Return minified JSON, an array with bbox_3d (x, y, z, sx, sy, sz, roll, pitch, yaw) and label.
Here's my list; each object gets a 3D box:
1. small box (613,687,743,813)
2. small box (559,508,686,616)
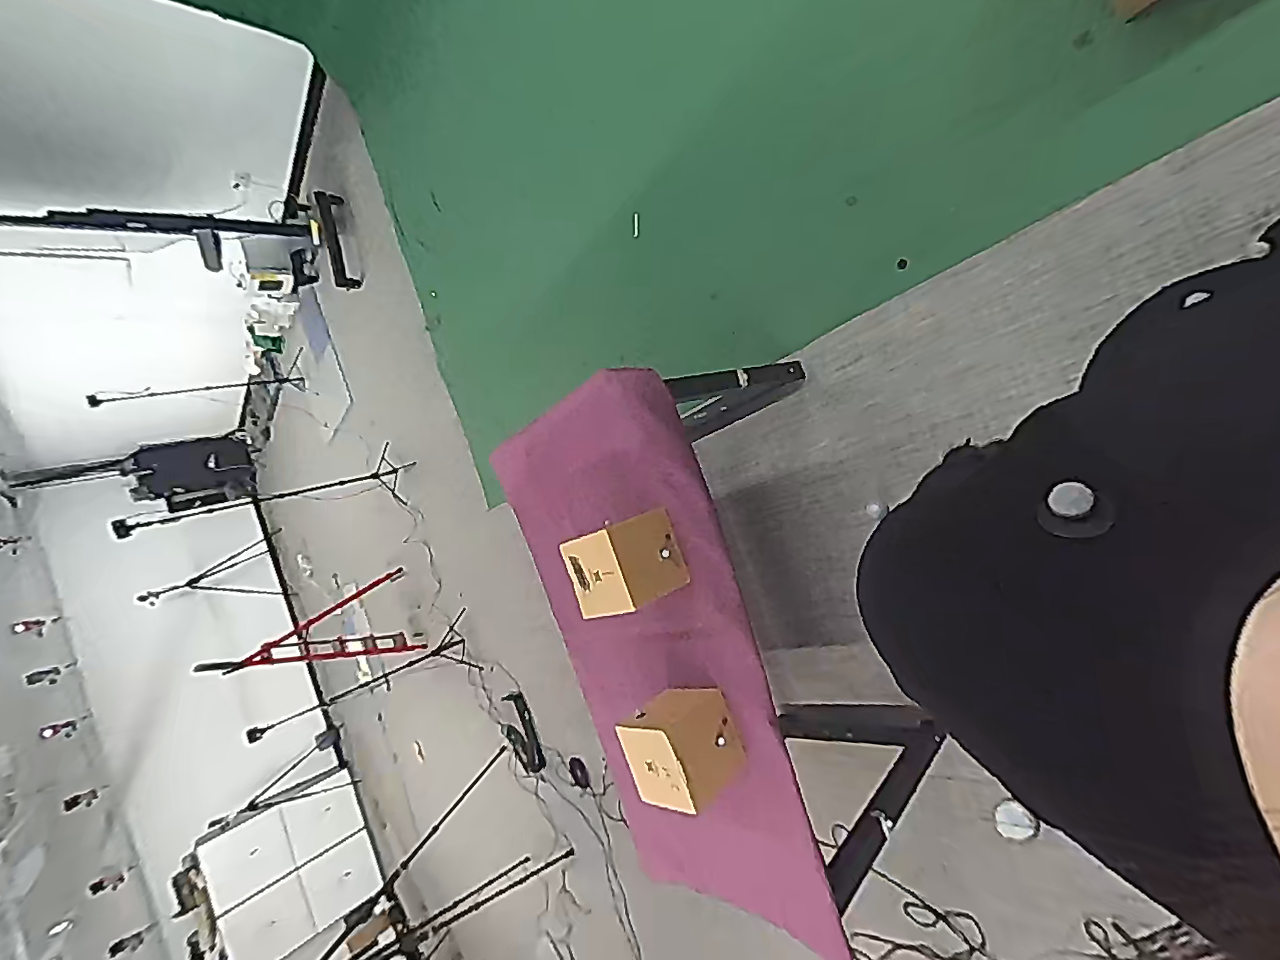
[{"bbox_3d":[0.079,0.547,1.122,0.179,0.176,0.168,-26,84,48],"label":"small box"},{"bbox_3d":[-0.035,0.169,1.124,0.179,0.176,0.168,-23,86,47],"label":"small box"}]
